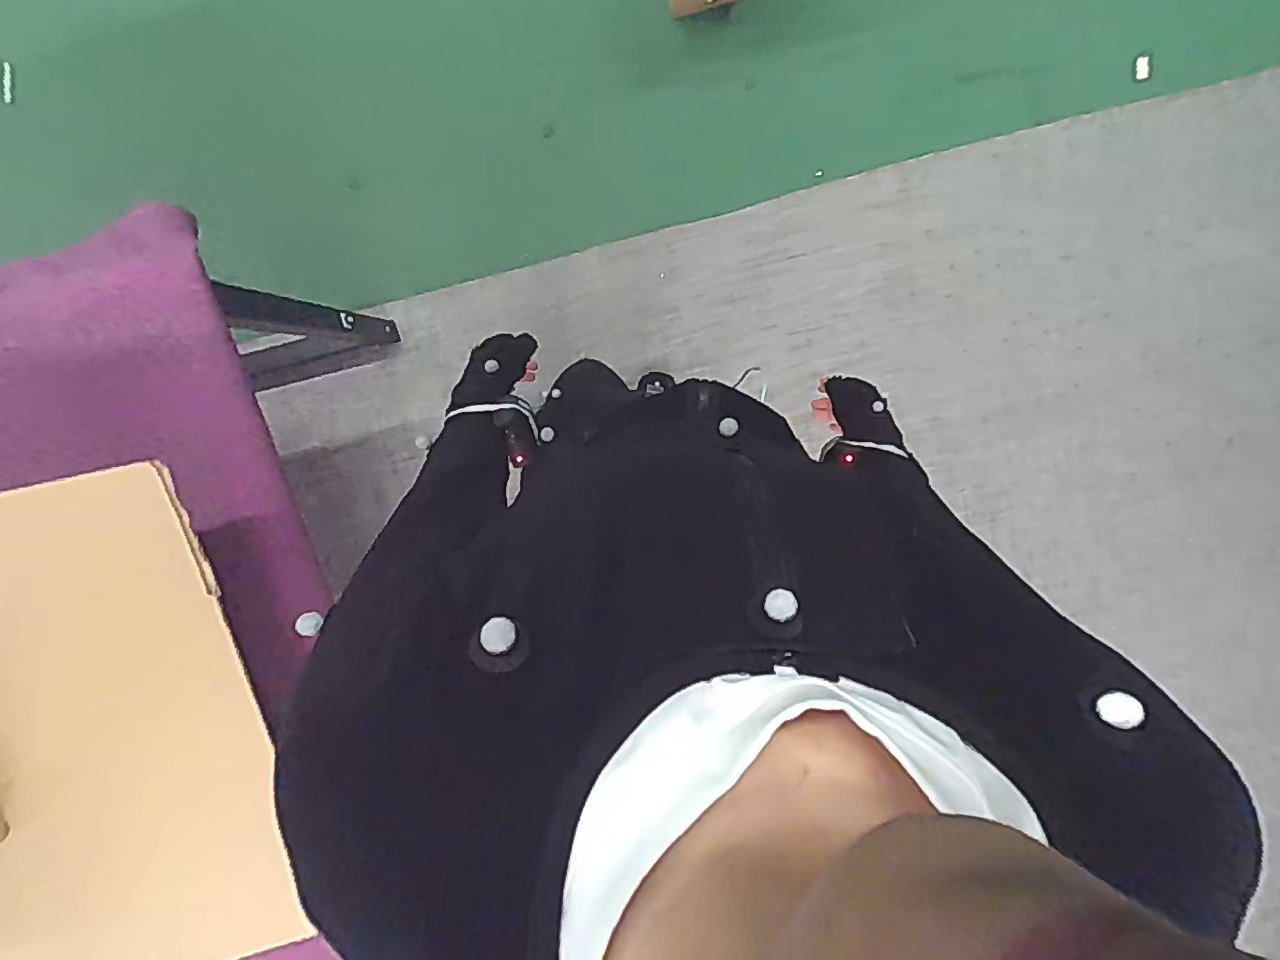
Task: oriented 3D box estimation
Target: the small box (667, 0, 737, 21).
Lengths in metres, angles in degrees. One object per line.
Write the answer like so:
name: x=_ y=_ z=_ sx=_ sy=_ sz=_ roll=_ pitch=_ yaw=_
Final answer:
small box: x=0.133 y=-1.168 z=1.180 sx=0.168 sy=0.176 sz=0.179 roll=-16 pitch=100 yaw=2
